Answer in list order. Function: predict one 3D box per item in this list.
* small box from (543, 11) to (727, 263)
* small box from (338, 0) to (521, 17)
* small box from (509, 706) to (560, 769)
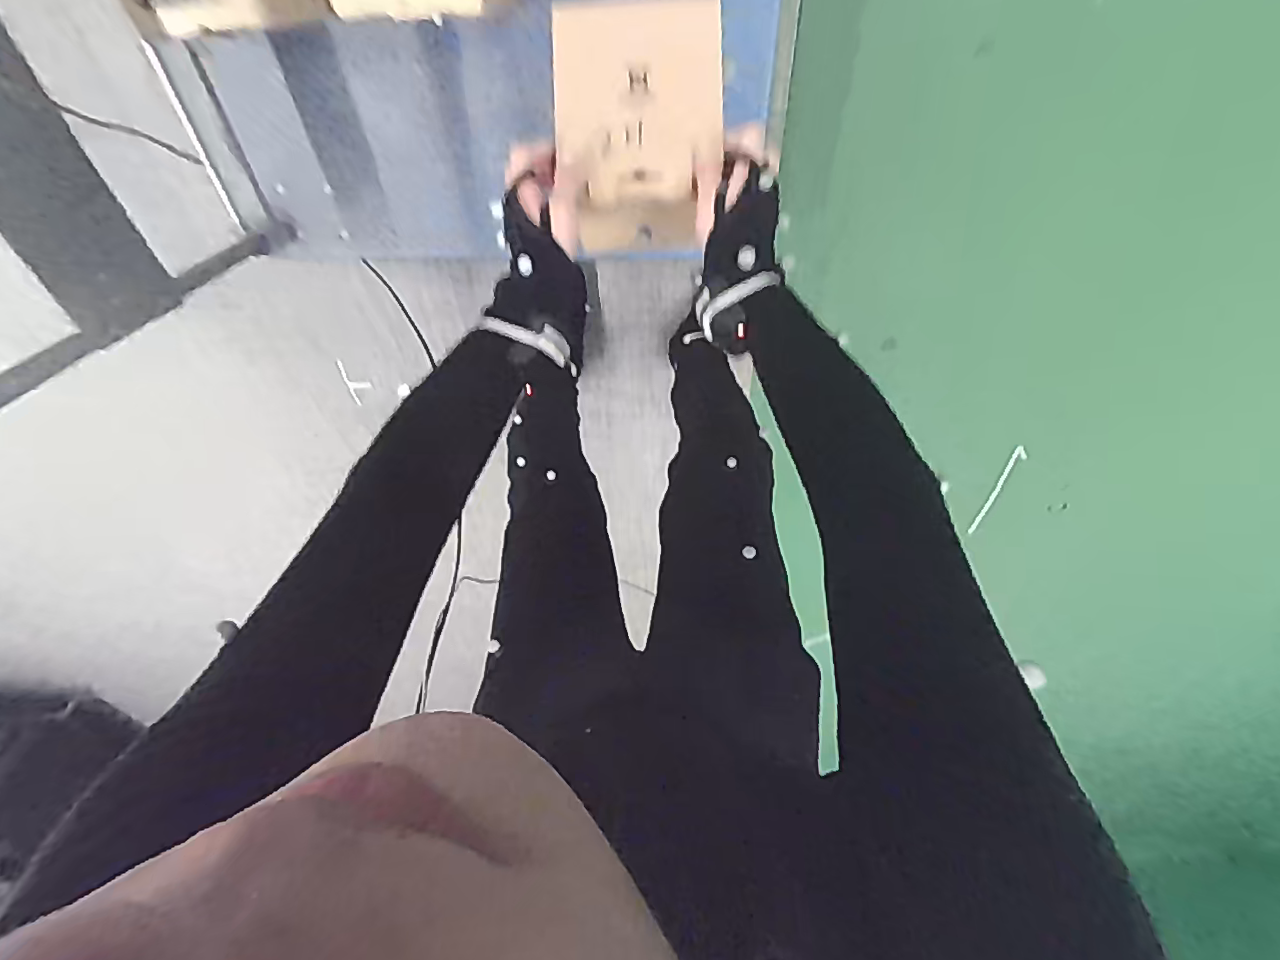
[{"bbox_3d":[-0.001,-0.366,0.605,0.168,0.176,0.179,6,93,5],"label":"small box"},{"bbox_3d":[-0.235,-0.616,0.578,0.168,0.176,0.179,3,134,4],"label":"small box"},{"bbox_3d":[-0.416,1.026,2.159,0.168,0.176,0.179,6,132,1],"label":"small box"}]
